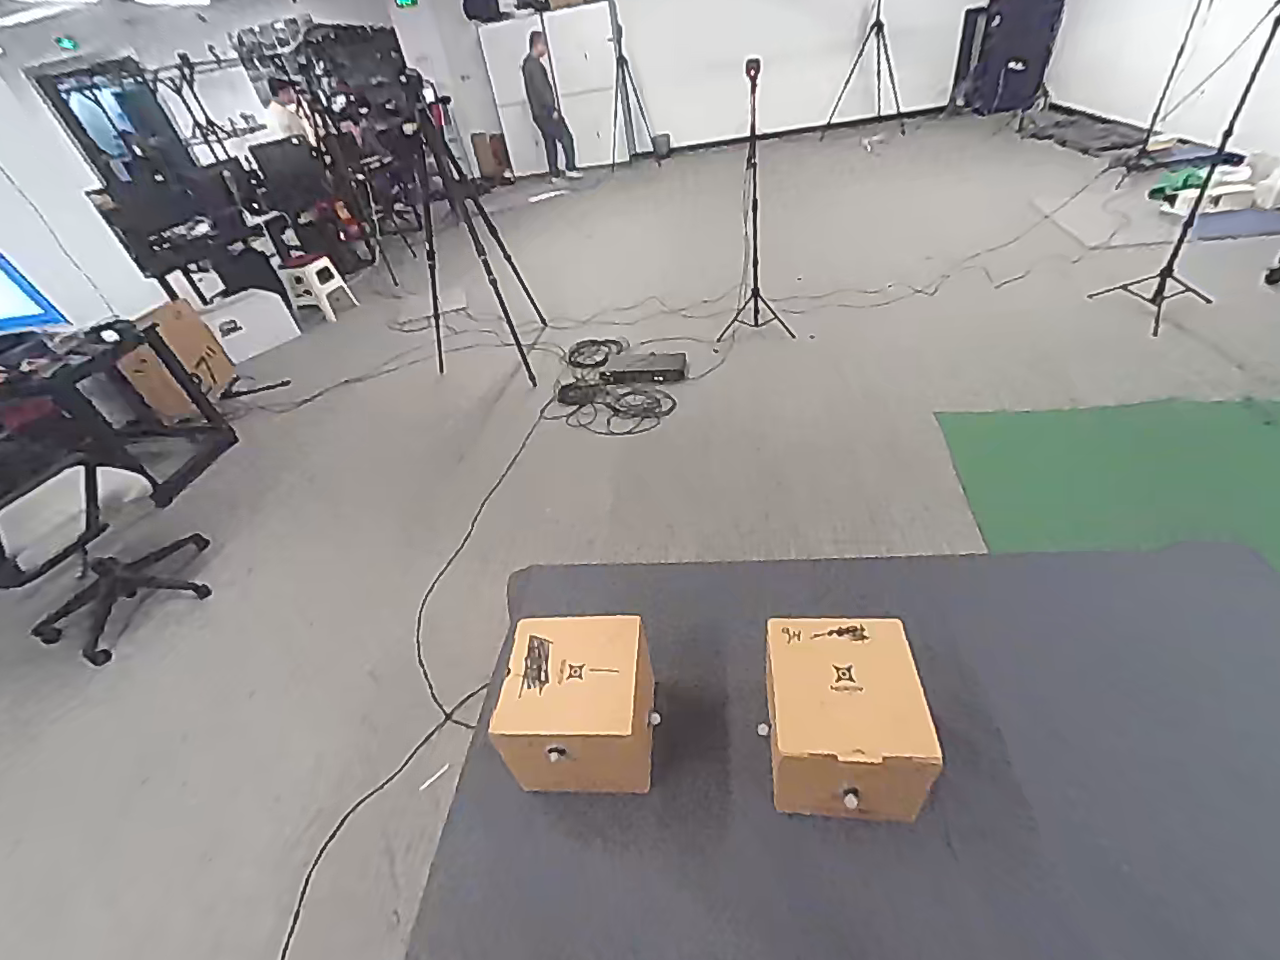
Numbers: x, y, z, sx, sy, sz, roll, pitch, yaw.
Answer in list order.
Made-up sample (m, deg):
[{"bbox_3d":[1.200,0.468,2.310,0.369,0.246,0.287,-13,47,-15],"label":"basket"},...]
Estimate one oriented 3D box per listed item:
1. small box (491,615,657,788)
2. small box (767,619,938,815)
[{"bbox_3d":[-0.076,0.303,0.741,0.179,0.176,0.168,-3,40,8],"label":"small box"},{"bbox_3d":[0.249,0.296,0.679,0.168,0.176,0.179,-2,40,10],"label":"small box"}]
